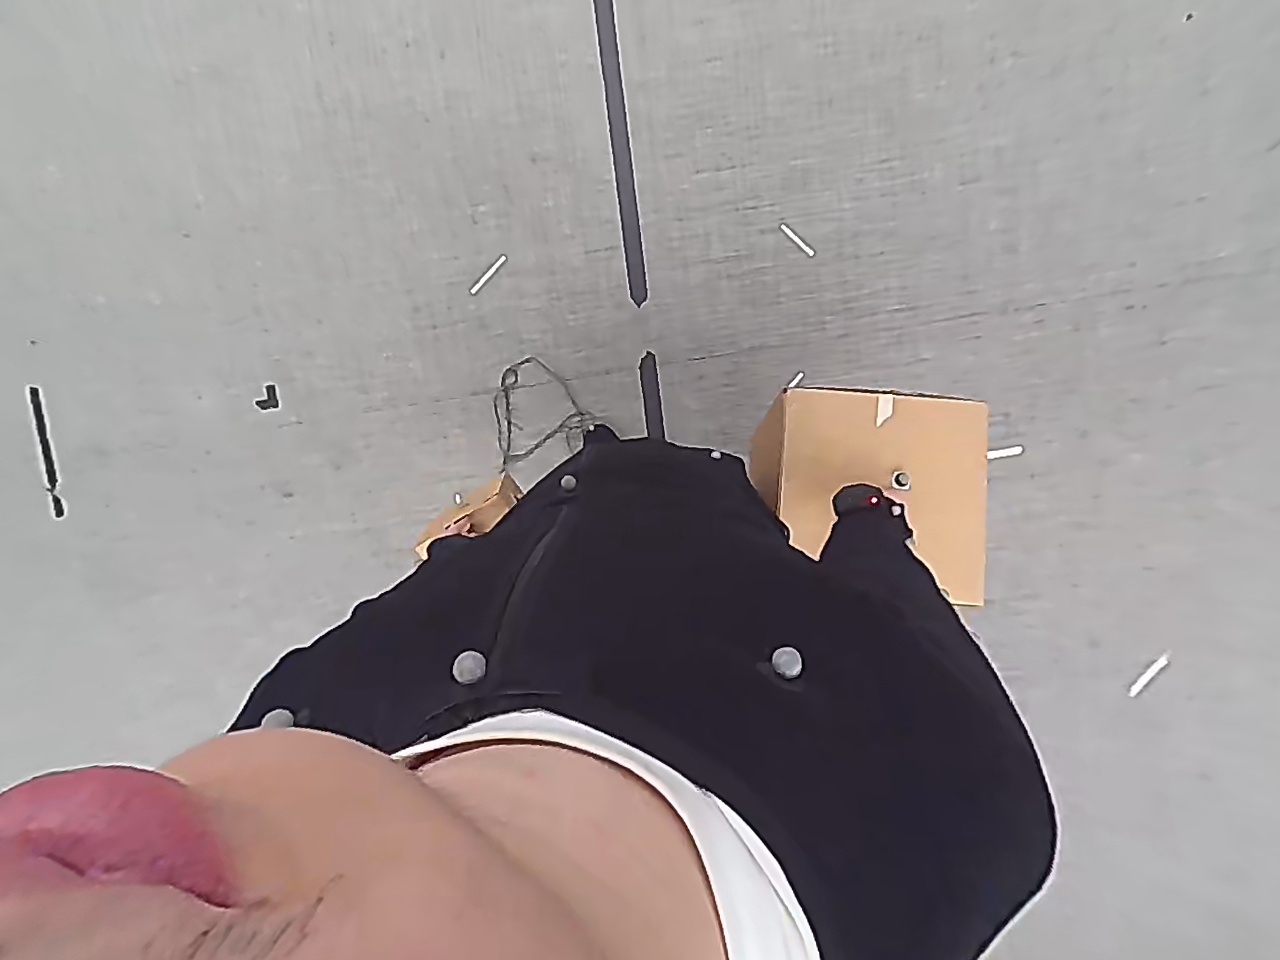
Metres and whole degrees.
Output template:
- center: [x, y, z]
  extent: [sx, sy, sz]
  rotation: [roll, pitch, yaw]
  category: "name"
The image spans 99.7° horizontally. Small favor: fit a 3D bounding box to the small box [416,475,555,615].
- center: [-0.267, 0.119, 0.983]
  extent: [0.168, 0.179, 0.176]
  rotation: [-33, 105, 1]
  category: "small box"
